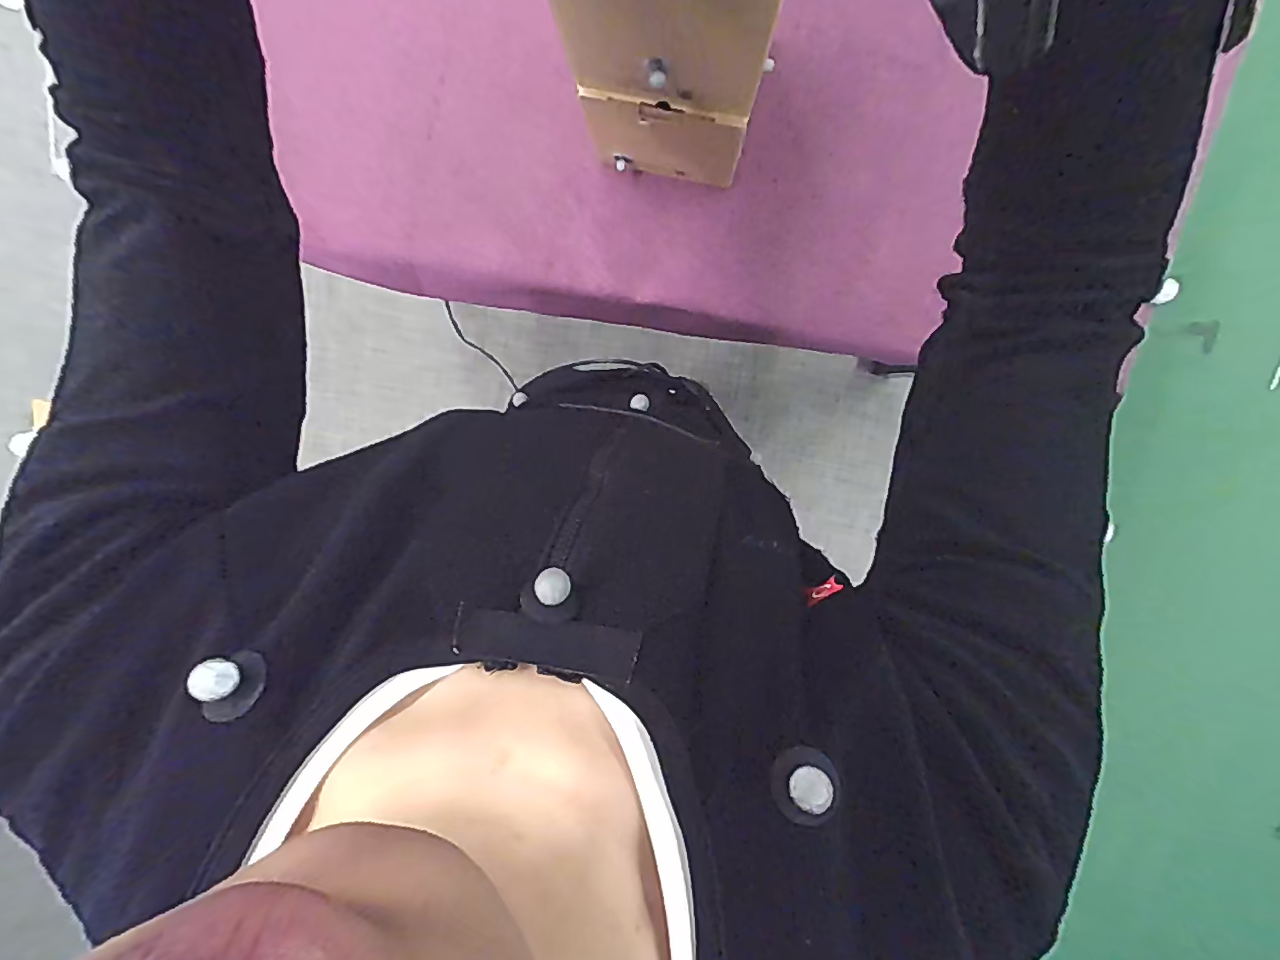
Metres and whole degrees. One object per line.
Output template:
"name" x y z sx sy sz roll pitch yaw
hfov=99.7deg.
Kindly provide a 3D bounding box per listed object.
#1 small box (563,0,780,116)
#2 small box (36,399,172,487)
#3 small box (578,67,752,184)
"small box" 0.032 -0.424 0.413 0.168 0.176 0.179 12 101 2
"small box" -1.267 -0.093 1.290 0.168 0.176 0.179 9 100 2
"small box" 0.042 -0.444 0.576 0.168 0.176 0.179 12 100 1
